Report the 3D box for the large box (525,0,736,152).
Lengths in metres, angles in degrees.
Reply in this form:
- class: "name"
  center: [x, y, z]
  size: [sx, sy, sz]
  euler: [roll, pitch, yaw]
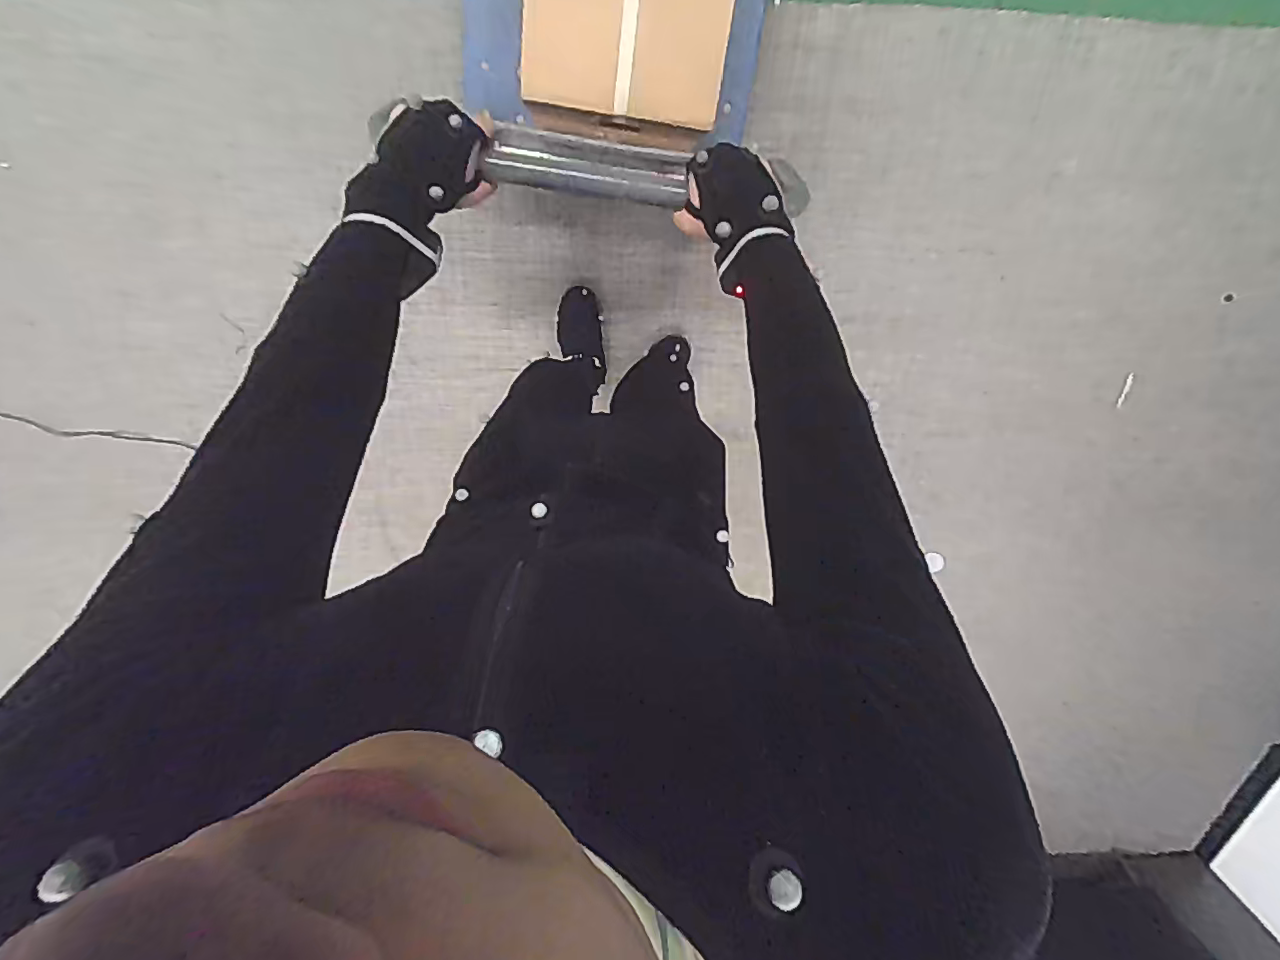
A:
- class: "large box"
  center: [-0.012, -0.824, 0.920]
  size: [0.320, 0.320, 0.408]
  euler: [6, 114, -7]
